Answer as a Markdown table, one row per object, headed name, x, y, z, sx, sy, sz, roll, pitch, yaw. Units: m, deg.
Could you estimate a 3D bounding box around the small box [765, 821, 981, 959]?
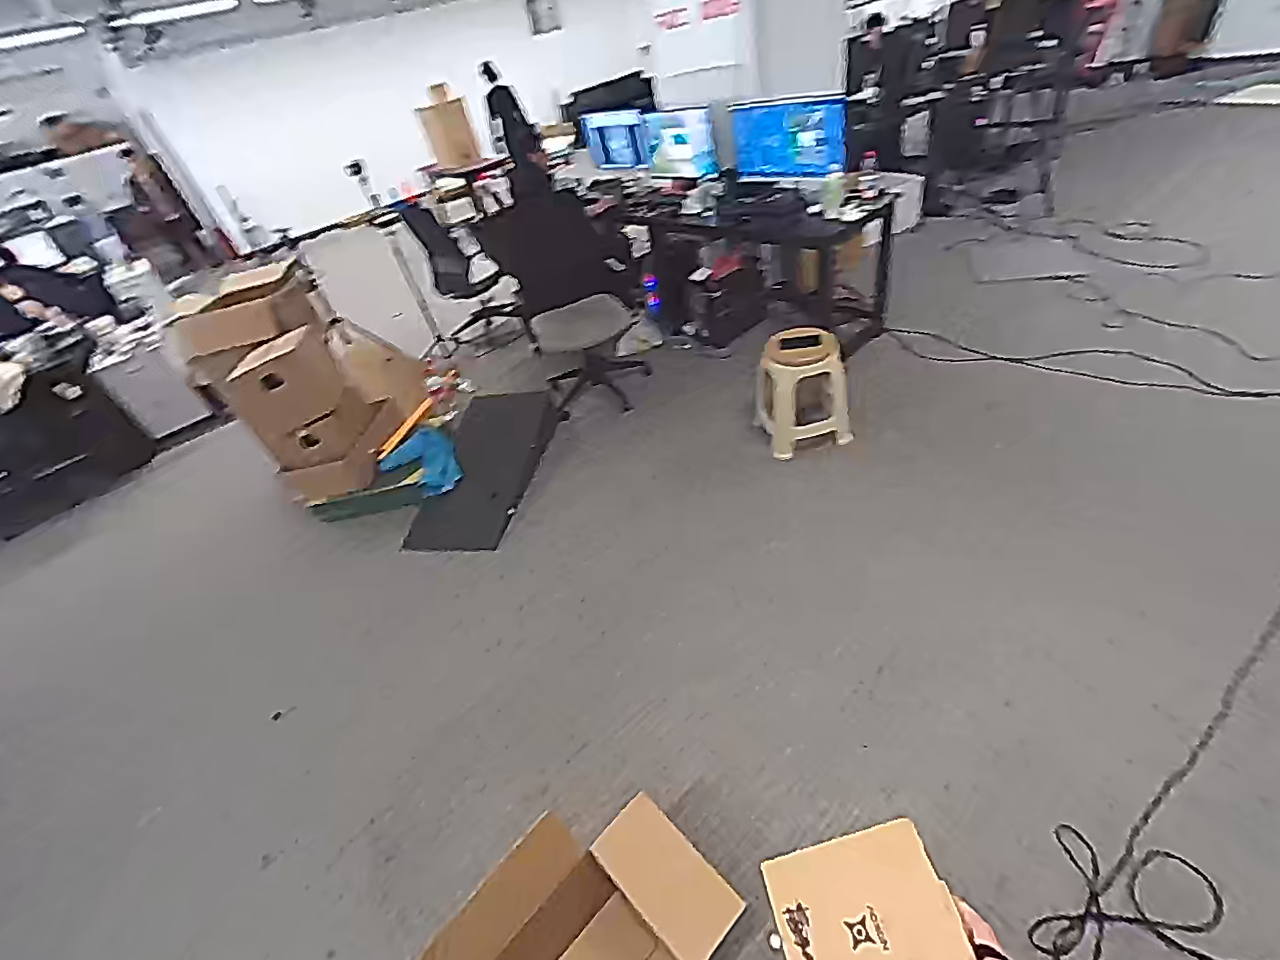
| name | x | y | z | sx | sy | sz | roll | pitch | yaw |
| --- | --- | --- | --- | --- | --- | --- | --- | --- | --- |
| small box | 0.257 | 0.508 | 0.584 | 0.179 | 0.176 | 0.168 | -22 | 35 | 7 |
